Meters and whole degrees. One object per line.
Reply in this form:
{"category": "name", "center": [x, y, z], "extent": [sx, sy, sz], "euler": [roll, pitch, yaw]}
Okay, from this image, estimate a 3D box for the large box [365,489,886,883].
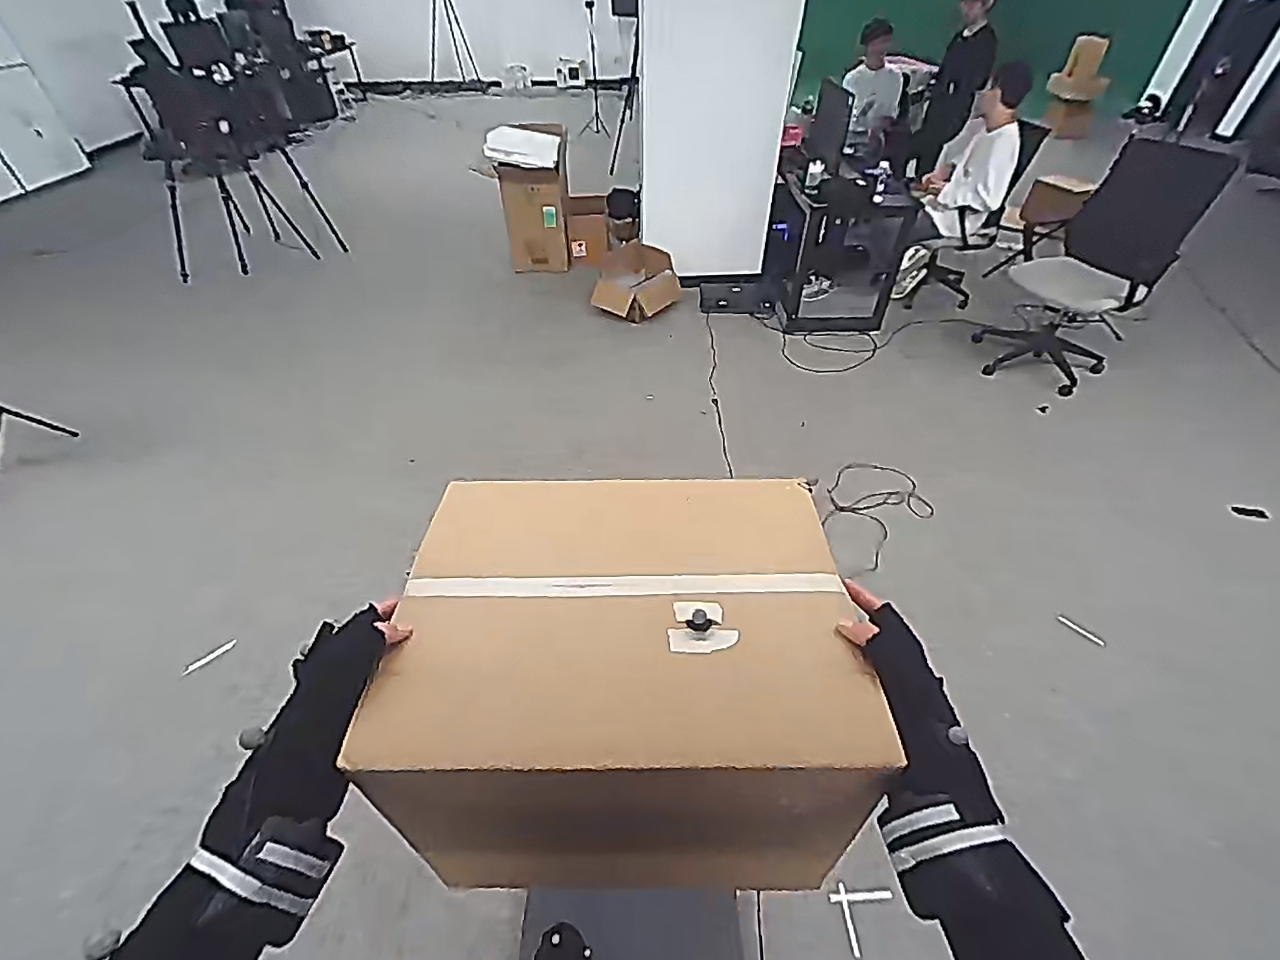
{"category": "large box", "center": [-0.011, 0.225, 0.612], "extent": [0.408, 0.320, 0.320], "euler": [0, 40, 1]}
